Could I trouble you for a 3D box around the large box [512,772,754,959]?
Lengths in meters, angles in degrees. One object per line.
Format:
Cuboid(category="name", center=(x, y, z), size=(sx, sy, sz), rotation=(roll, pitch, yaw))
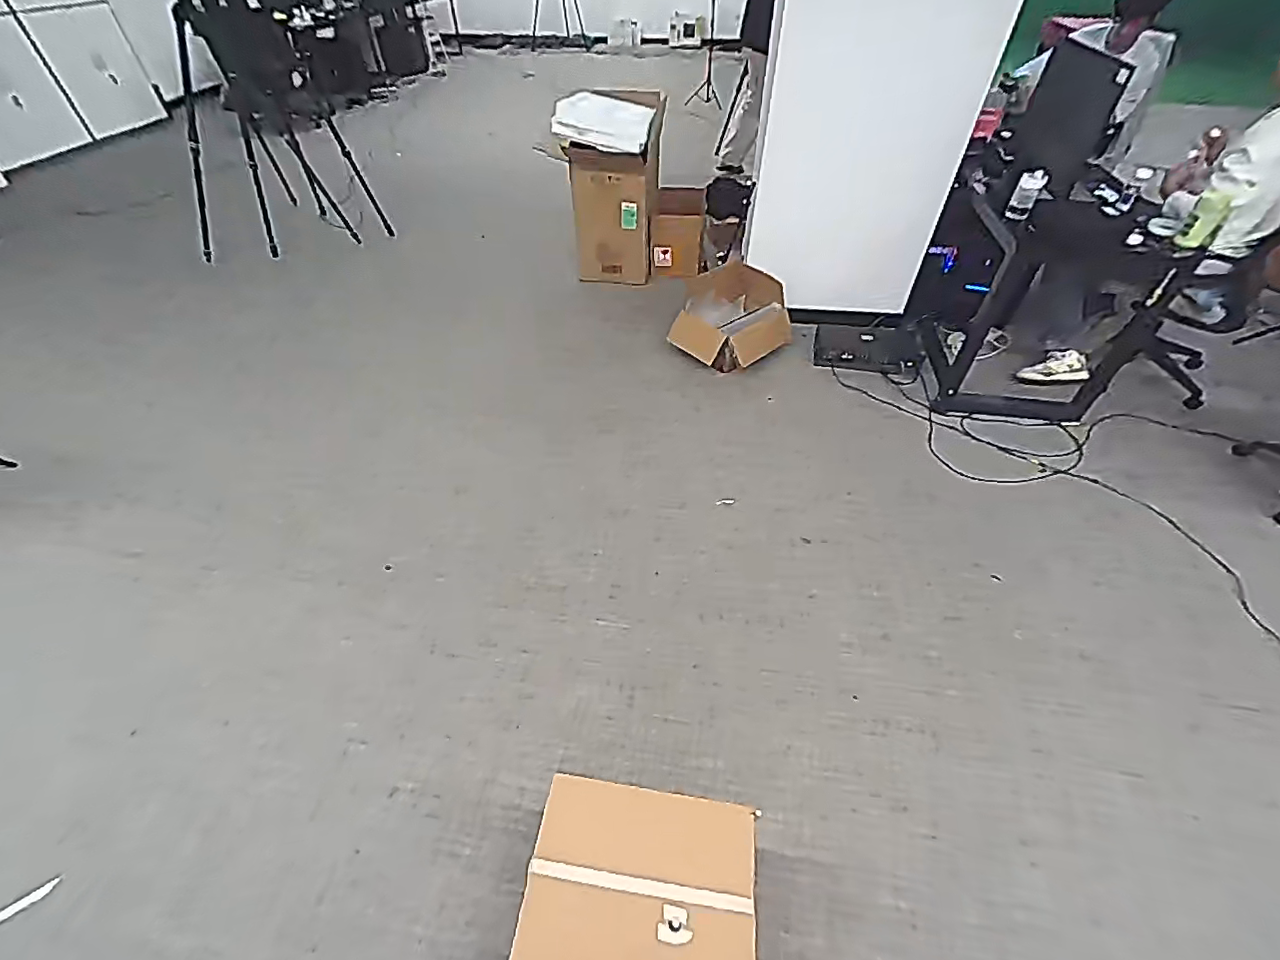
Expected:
Cuboid(category="large box", center=(-0.001, 0.821, 1.073), size=(0.408, 0.320, 0.320), rotation=(7, 47, 6))
